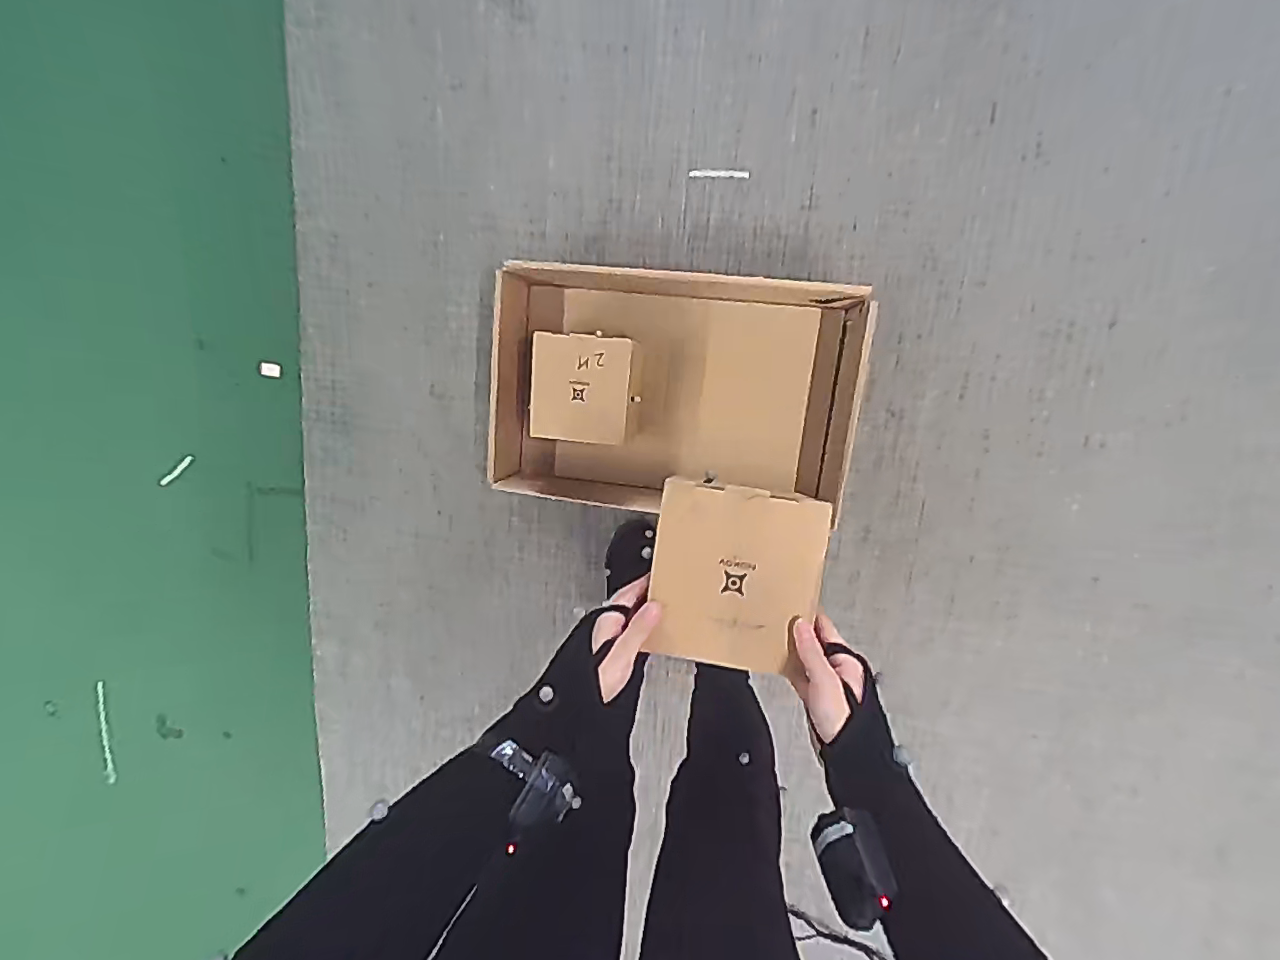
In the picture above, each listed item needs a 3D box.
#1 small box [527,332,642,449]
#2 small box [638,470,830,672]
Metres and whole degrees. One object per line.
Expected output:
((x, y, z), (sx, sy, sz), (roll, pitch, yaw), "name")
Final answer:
((-0.092, -0.160, 0.963), (0.168, 0.176, 0.179), (7, 101, 6), "small box")
((0.098, 0.087, 0.610), (0.168, 0.176, 0.179), (10, 92, 6), "small box")
